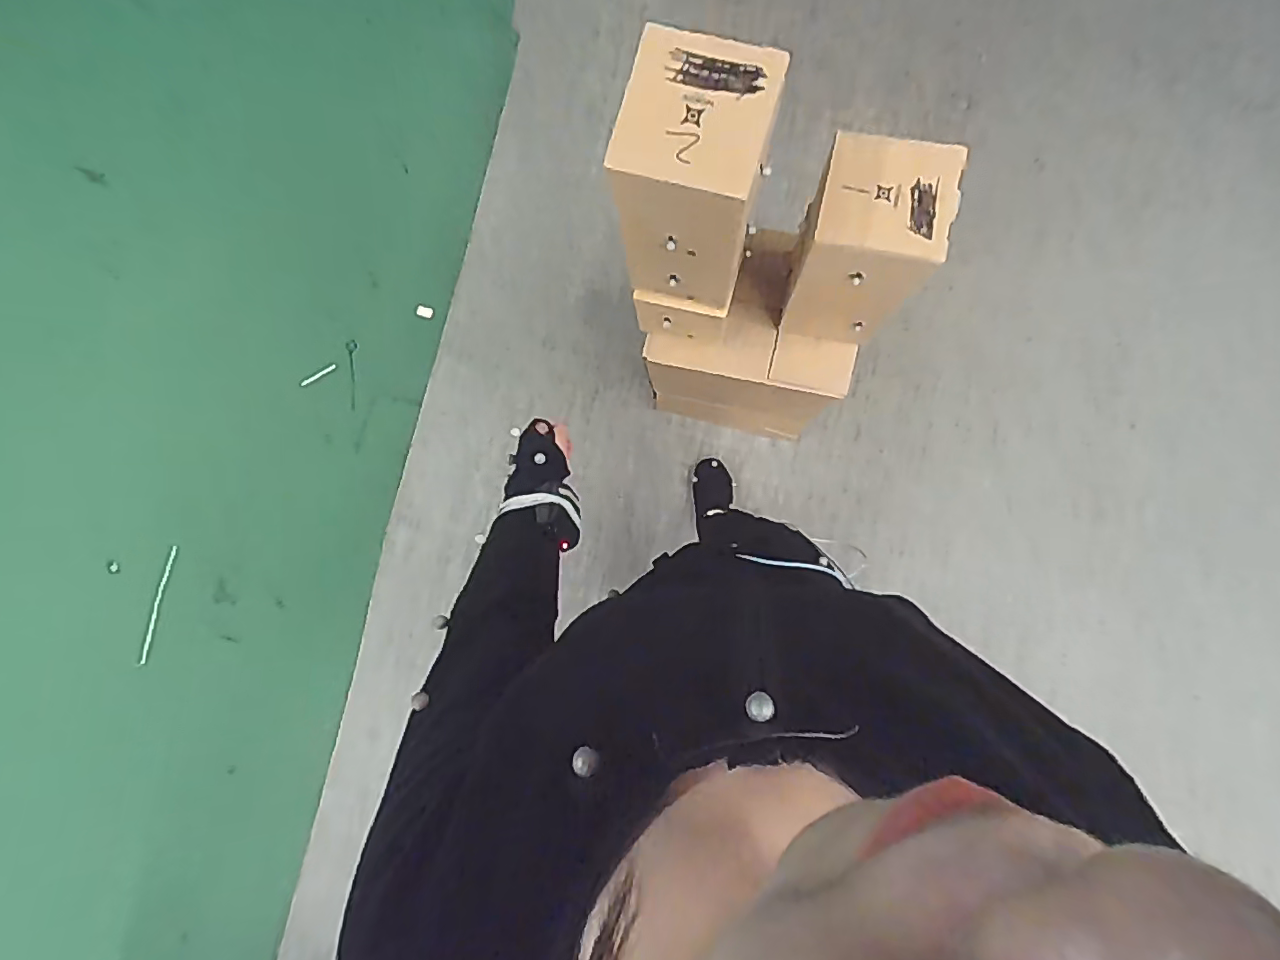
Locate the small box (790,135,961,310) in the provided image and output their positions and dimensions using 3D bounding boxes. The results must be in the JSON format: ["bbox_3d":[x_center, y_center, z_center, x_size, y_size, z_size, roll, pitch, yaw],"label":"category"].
[{"bbox_3d":[0.341,-0.374,0.815,0.179,0.176,0.168,13,86,8],"label":"small box"}]

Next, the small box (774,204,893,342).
[{"bbox_3d":[0.354,-0.363,0.977,0.179,0.176,0.168,12,86,7],"label":"small box"}]

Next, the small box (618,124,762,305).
[{"bbox_3d":[0.076,-0.395,0.836,0.168,0.176,0.179,17,87,4],"label":"small box"}]

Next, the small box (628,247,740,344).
[{"bbox_3d":[0.085,-0.370,0.999,0.168,0.176,0.179,15,87,5],"label":"small box"}]
